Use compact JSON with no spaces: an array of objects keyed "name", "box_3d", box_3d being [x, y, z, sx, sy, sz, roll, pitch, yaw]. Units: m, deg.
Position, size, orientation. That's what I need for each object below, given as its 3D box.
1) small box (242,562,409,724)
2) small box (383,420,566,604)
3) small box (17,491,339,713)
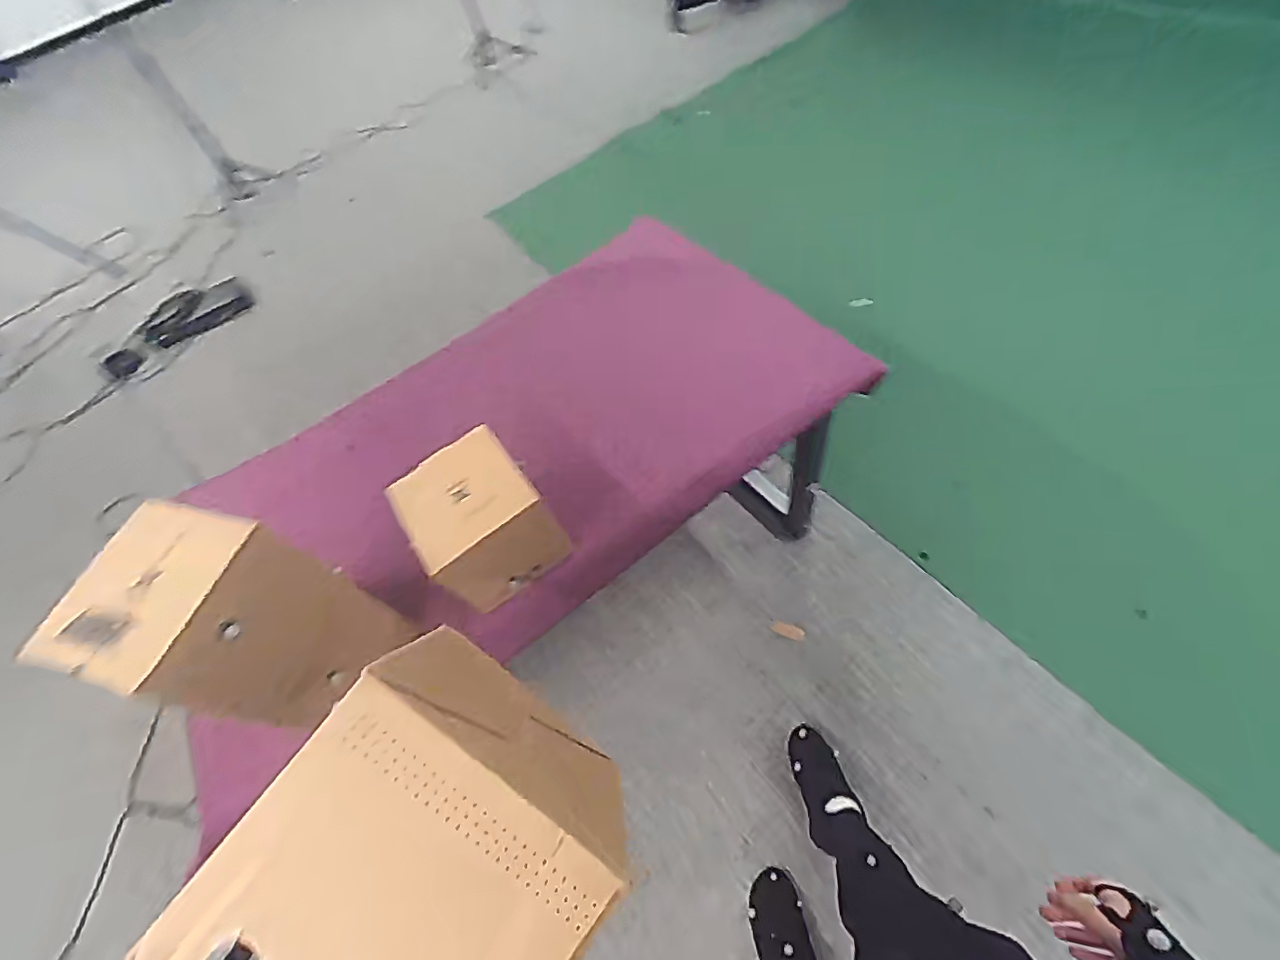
[{"name":"small box","box_3d":[-0.459,0.213,0.742,0.168,0.176,0.179,20,65,22]},{"name":"small box","box_3d":[-0.237,0.051,0.799,0.168,0.176,0.179,-36,58,-10]},{"name":"small box","box_3d":[-0.479,0.138,0.595,0.168,0.176,0.179,9,60,16]}]
